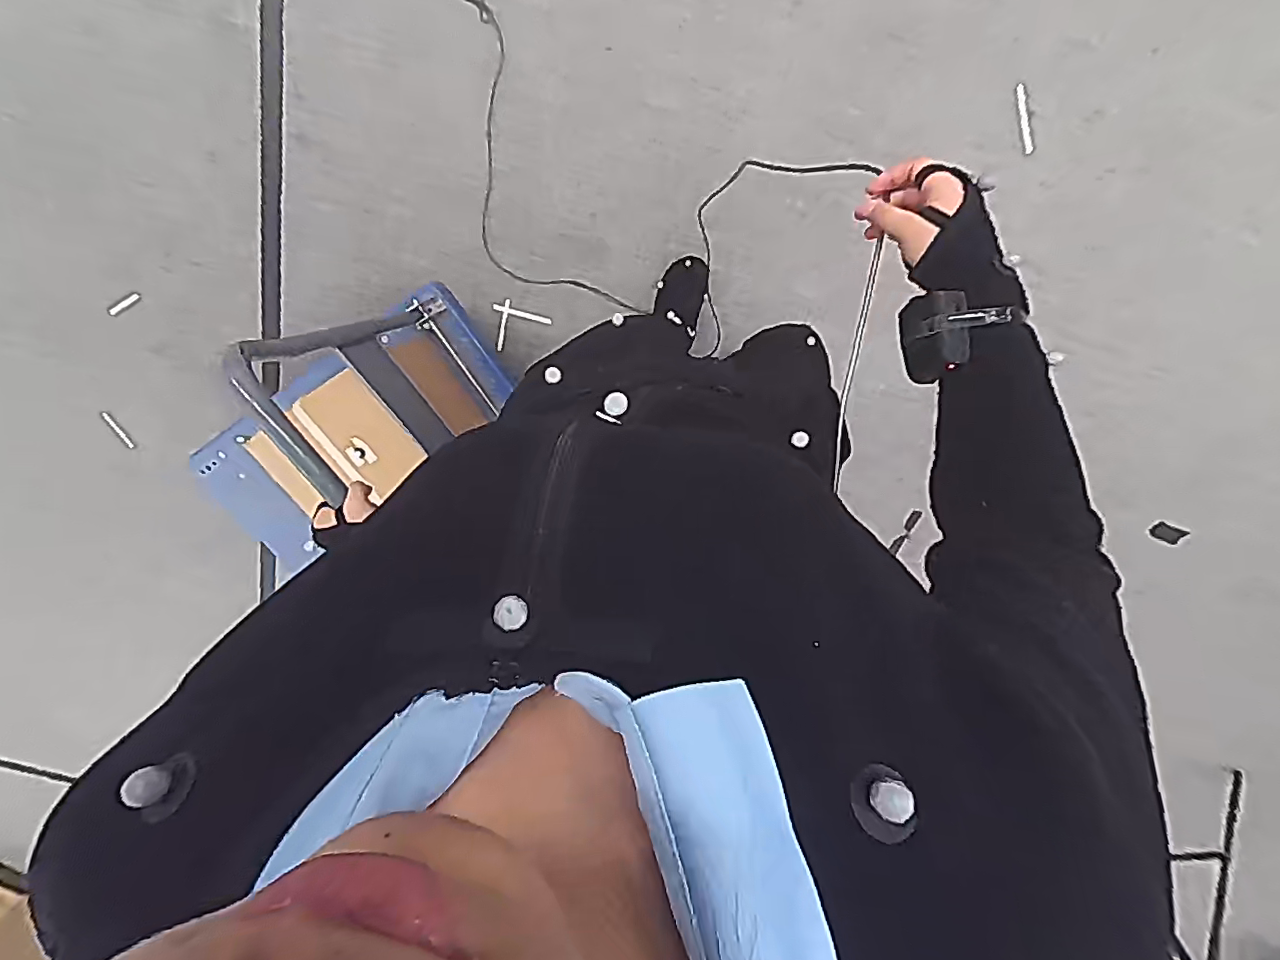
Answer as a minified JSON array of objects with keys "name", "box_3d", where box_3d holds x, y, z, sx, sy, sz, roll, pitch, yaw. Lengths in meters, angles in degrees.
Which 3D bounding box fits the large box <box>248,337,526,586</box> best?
[{"name":"large box","box_3d":[-0.524,-0.050,1.212,0.320,0.320,0.408,-29,109,14]}]
